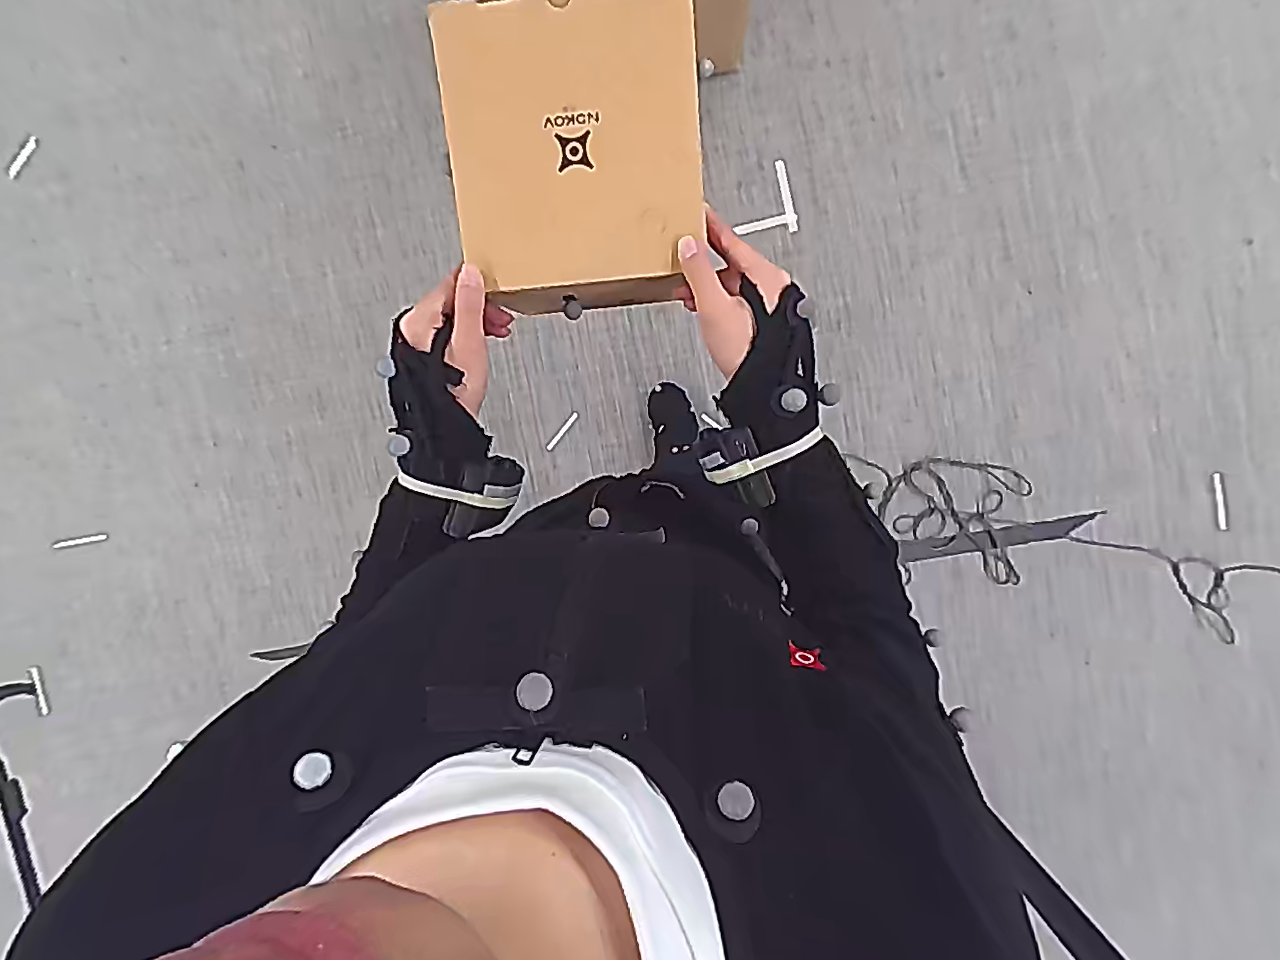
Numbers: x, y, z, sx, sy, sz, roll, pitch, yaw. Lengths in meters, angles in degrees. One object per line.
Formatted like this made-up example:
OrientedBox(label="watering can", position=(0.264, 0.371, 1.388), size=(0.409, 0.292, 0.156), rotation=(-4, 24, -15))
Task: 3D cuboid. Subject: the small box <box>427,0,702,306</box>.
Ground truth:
OrientedBox(label="small box", position=(-0.042, -0.238, 0.426), size=(0.168, 0.176, 0.179), rotation=(-5, 100, 2))
